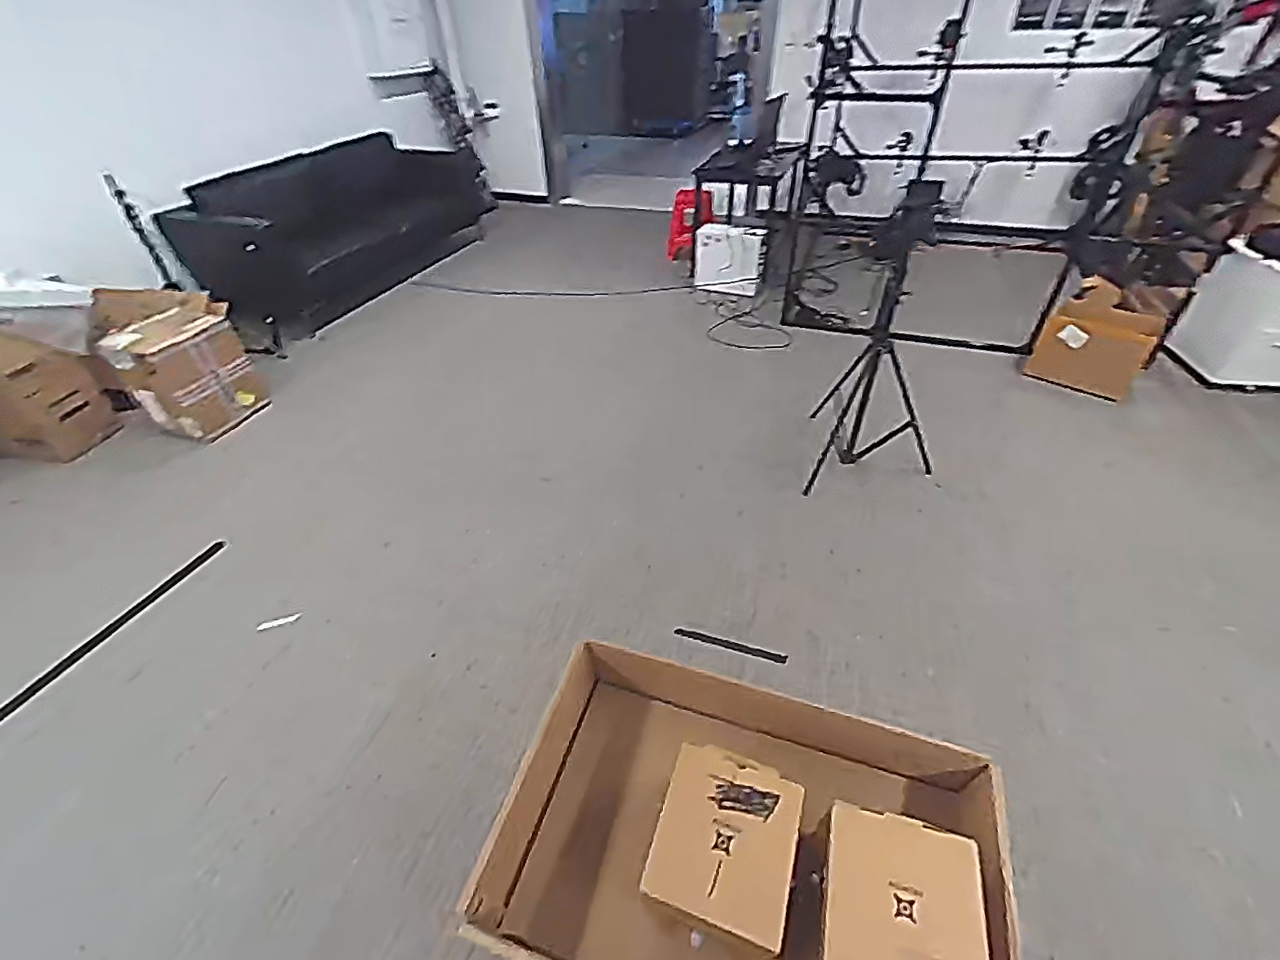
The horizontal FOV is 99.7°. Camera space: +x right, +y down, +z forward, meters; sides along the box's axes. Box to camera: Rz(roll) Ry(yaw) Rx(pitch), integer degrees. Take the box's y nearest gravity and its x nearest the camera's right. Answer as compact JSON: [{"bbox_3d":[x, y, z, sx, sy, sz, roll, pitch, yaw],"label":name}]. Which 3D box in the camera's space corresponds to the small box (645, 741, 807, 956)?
[{"bbox_3d":[0.113,0.486,0.716,0.168,0.176,0.179,12,48,17],"label":"small box"}]
